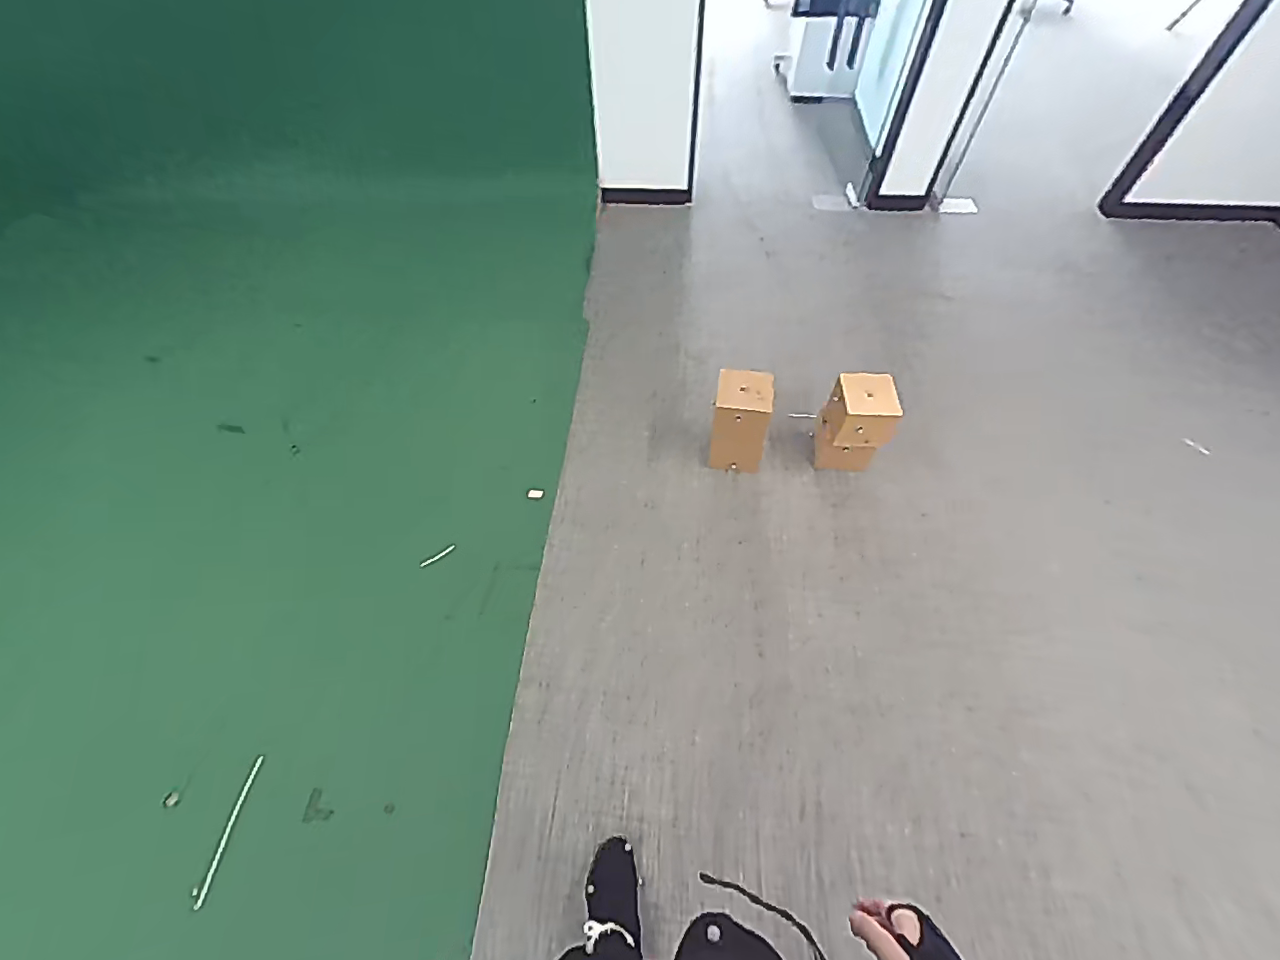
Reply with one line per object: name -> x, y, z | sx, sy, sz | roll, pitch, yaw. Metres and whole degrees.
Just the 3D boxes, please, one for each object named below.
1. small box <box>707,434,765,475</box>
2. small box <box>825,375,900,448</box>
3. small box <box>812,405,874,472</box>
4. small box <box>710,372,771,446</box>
small box -> 0.335, -0.135, 1.896 | 0.179, 0.176, 0.168 | 6, 56, 5
small box -> 0.711, -0.219, 1.748 | 0.168, 0.176, 0.179 | 1, 56, 2
small box -> 0.709, -0.142, 1.892 | 0.179, 0.176, 0.168 | 5, 57, 3
small box -> 0.325, -0.228, 1.759 | 0.179, 0.176, 0.168 | 7, 57, 5
